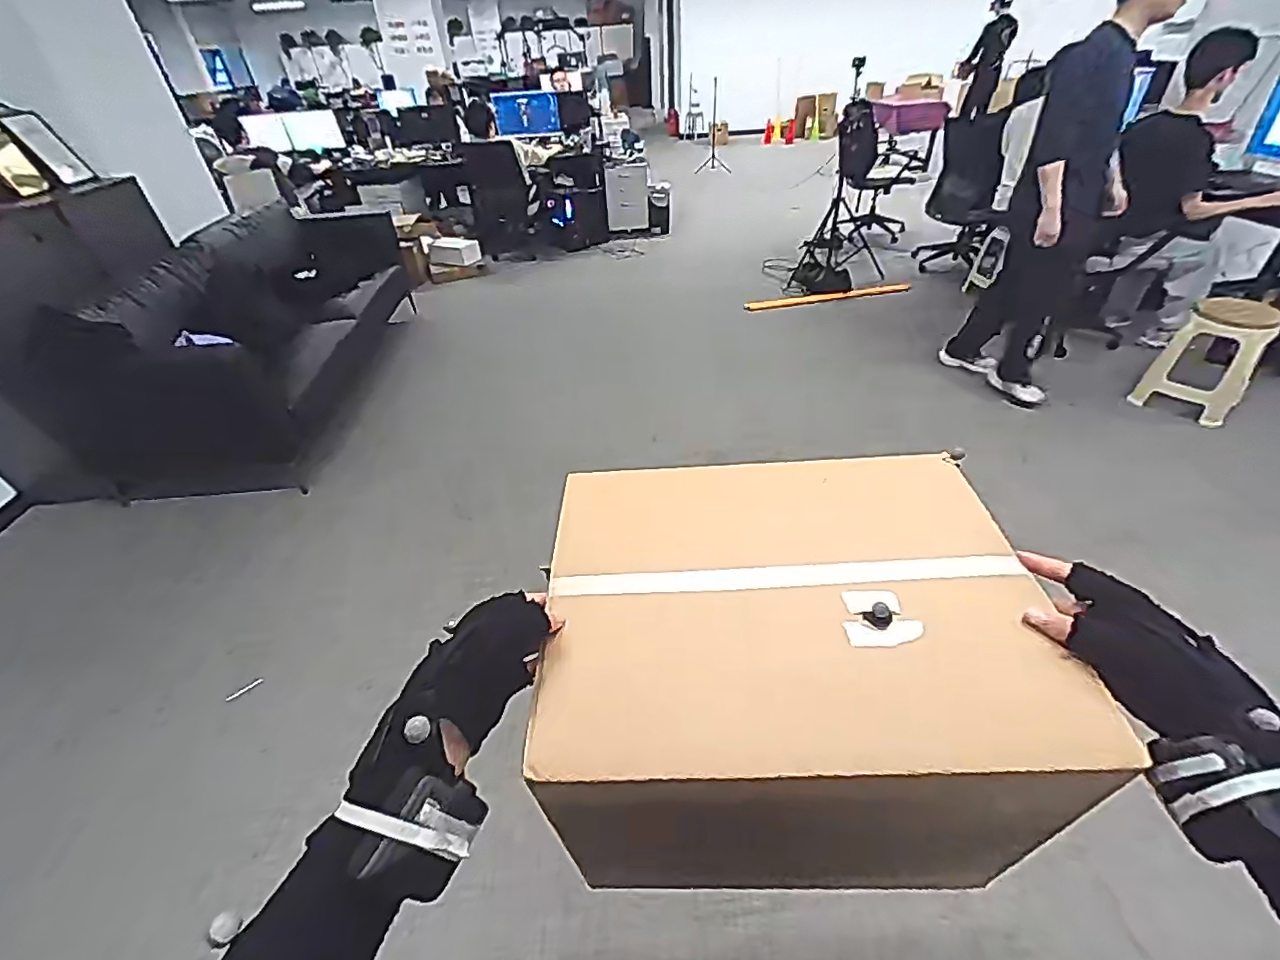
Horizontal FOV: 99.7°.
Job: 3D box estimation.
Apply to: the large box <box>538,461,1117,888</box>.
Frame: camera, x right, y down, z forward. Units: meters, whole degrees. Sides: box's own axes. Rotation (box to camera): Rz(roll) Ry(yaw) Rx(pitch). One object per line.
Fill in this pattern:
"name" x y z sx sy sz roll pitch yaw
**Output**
"large box" 0.134 0.205 0.577 0.408 0.320 0.320 -4 42 4
